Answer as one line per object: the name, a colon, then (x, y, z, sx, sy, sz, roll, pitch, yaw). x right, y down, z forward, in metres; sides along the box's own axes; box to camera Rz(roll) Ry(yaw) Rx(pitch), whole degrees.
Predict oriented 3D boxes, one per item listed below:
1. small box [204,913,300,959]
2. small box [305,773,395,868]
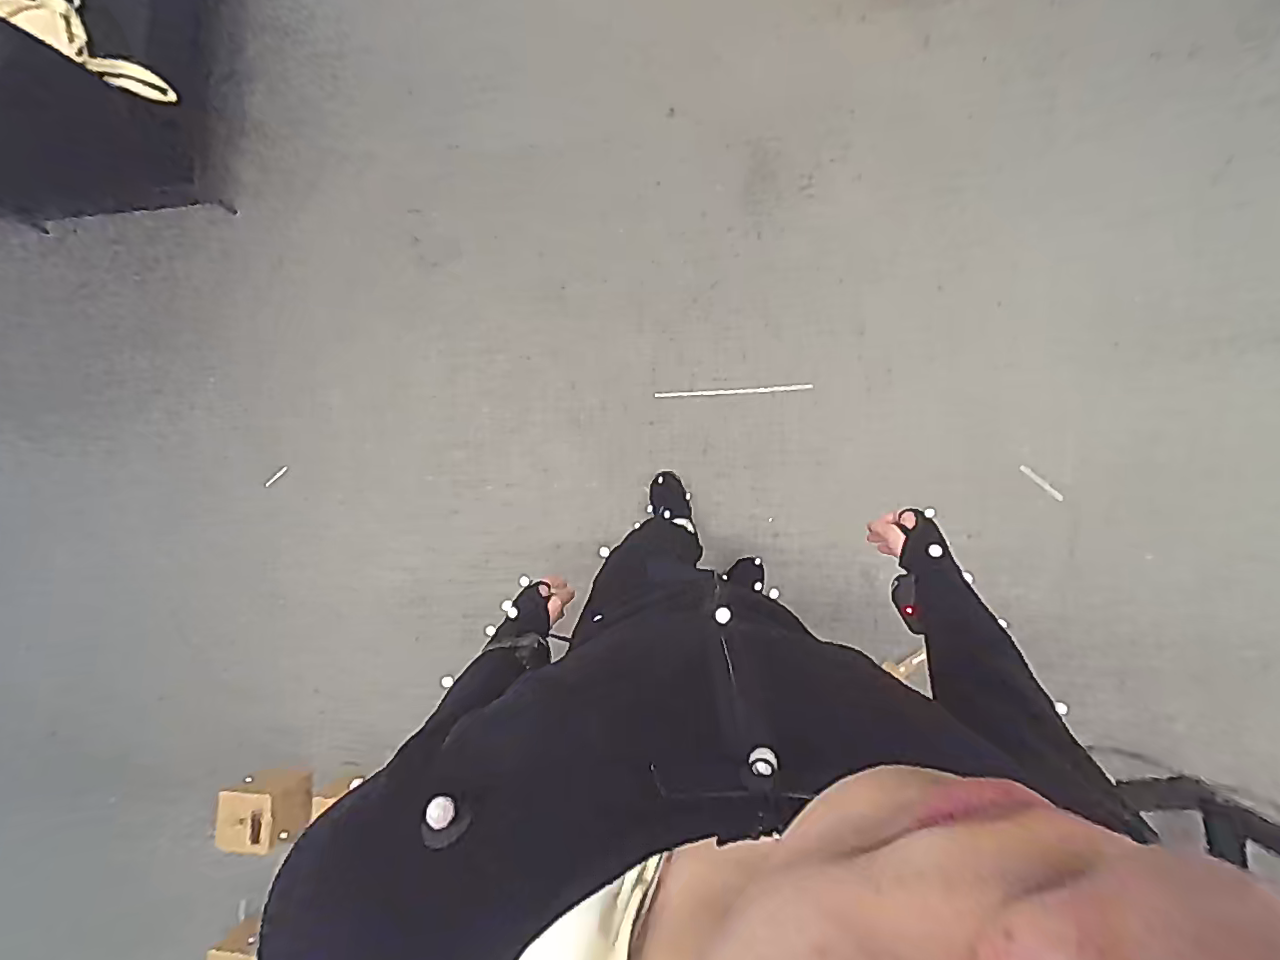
small box: (-1.149, 1.434, 1.603, 0.179, 0.176, 0.168, 1, 84, 9)
small box: (-0.854, 1.006, 1.607, 0.168, 0.176, 0.179, 1, 83, 8)
